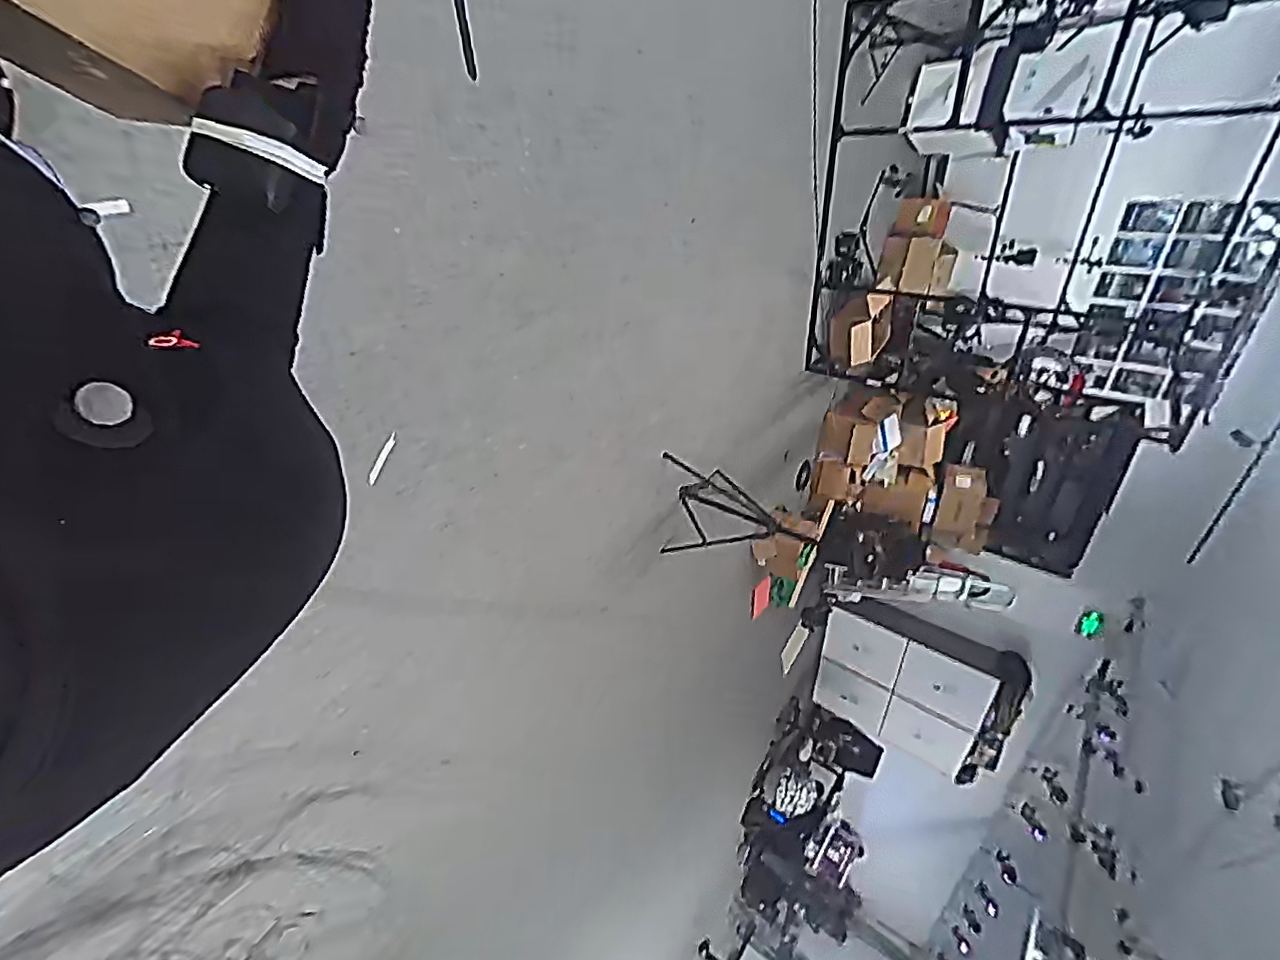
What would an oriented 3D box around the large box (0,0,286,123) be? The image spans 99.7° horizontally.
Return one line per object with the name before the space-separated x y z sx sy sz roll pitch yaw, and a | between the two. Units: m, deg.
large box | -0.452 -0.479 0.294 0.408 0.320 0.320 14 101 -59
